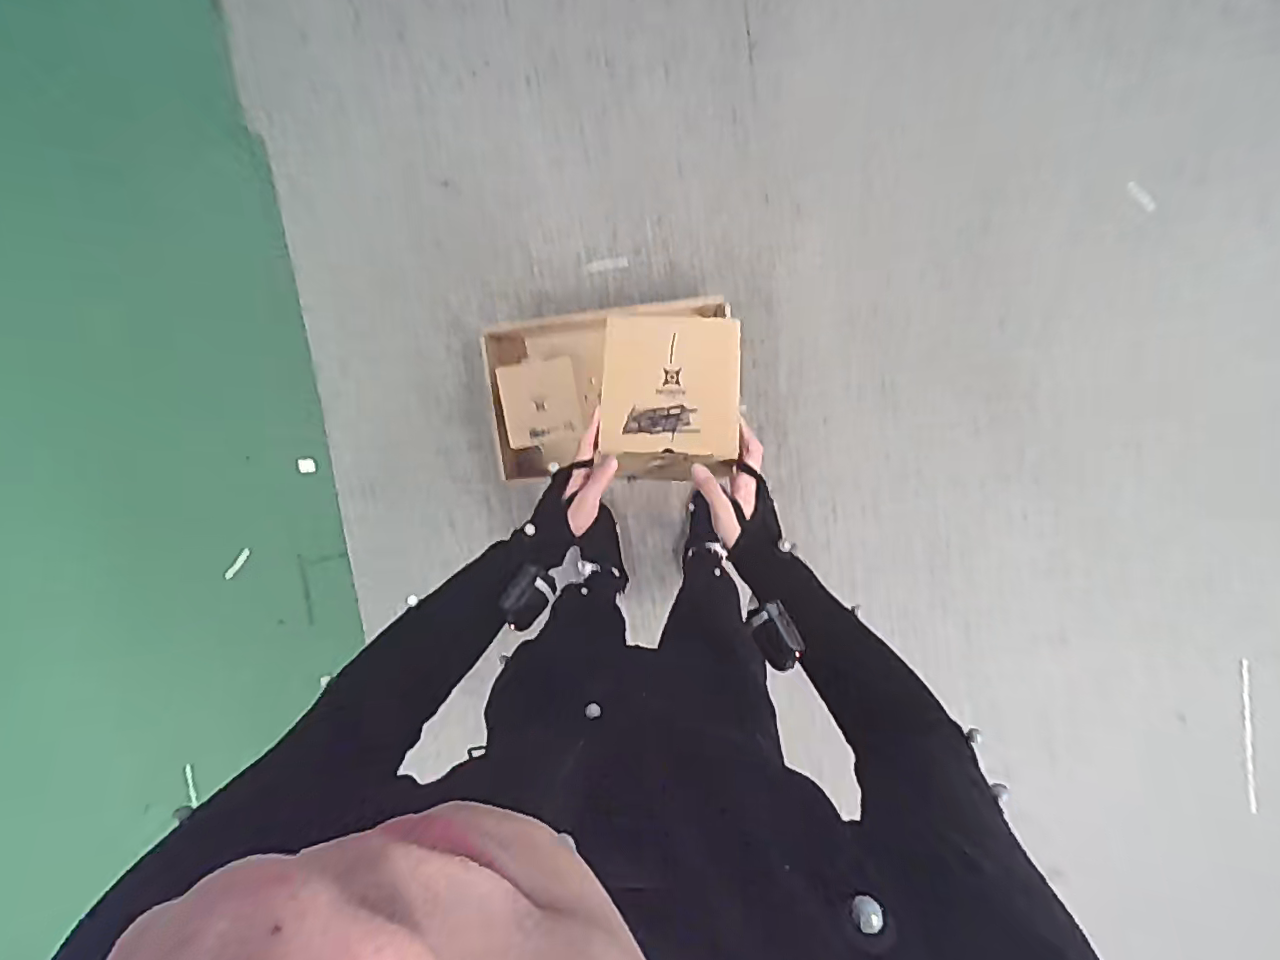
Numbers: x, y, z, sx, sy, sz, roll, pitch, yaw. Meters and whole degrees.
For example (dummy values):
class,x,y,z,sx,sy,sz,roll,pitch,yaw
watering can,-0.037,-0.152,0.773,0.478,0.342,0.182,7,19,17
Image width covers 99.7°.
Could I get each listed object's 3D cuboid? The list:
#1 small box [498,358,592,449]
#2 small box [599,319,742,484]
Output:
class,x,y,z,sx,sy,sz,roll,pitch,yaw
small box,-0.210,-0.169,1.230,0.168,0.176,0.179,-9,95,3
small box,0.041,-0.092,0.714,0.168,0.176,0.179,2,79,2
